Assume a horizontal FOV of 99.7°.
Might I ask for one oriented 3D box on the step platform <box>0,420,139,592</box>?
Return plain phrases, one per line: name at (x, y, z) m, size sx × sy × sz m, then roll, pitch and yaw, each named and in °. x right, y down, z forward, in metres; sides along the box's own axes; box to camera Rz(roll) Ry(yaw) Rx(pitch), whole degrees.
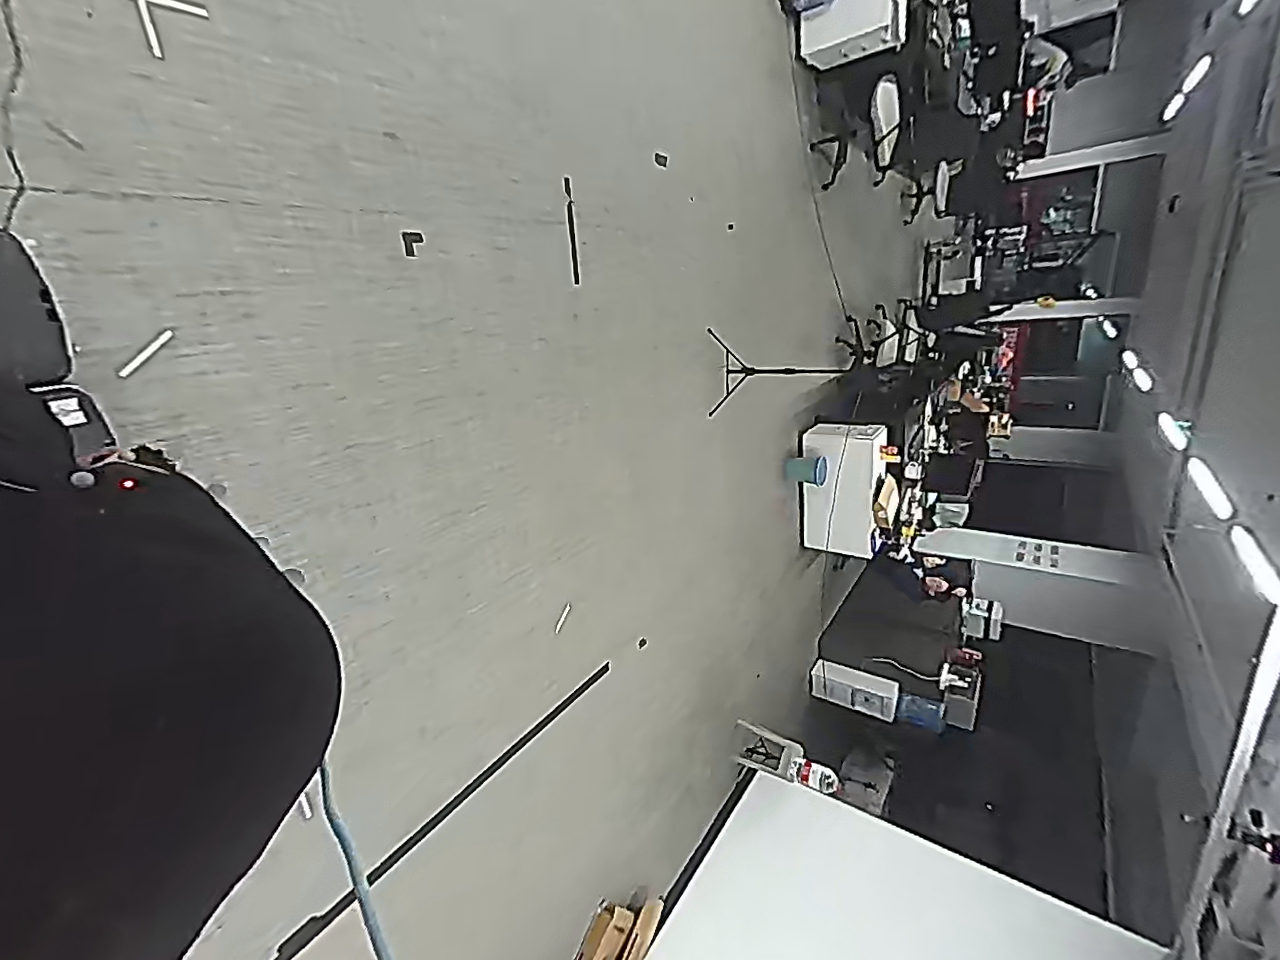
step platform at (-1.265, 0.084, 0.861) m, size 0.684 × 0.204 × 0.286 m, roll -19°, pitch 110°, yaw -49°
